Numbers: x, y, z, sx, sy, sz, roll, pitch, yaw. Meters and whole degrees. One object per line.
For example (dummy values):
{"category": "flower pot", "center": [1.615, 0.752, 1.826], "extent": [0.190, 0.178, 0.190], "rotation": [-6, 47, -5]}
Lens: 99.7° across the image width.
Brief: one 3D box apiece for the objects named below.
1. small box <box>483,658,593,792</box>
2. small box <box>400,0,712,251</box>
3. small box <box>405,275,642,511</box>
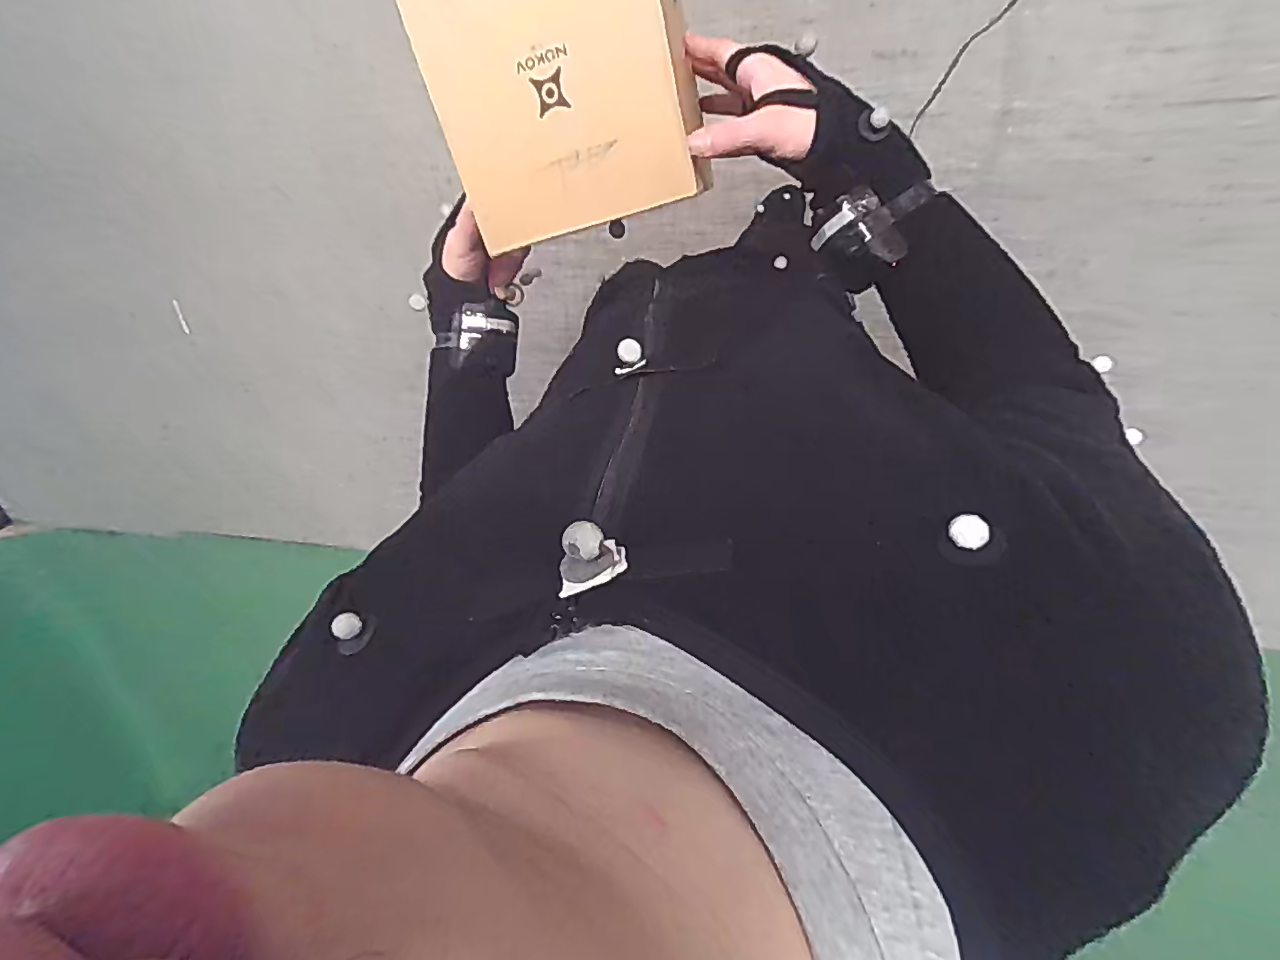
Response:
{"category": "small box", "center": [-0.195, 0.486, 1.090], "extent": [0.168, 0.176, 0.179], "rotation": [5, 120, 10]}
{"category": "small box", "center": [-0.043, -0.296, 0.415], "extent": [0.168, 0.176, 0.179], "rotation": [-8, 119, 17]}
{"category": "small box", "center": [-0.133, -0.078, 0.598], "extent": [0.179, 0.168, 0.176], "rotation": [33, 153, -18]}
